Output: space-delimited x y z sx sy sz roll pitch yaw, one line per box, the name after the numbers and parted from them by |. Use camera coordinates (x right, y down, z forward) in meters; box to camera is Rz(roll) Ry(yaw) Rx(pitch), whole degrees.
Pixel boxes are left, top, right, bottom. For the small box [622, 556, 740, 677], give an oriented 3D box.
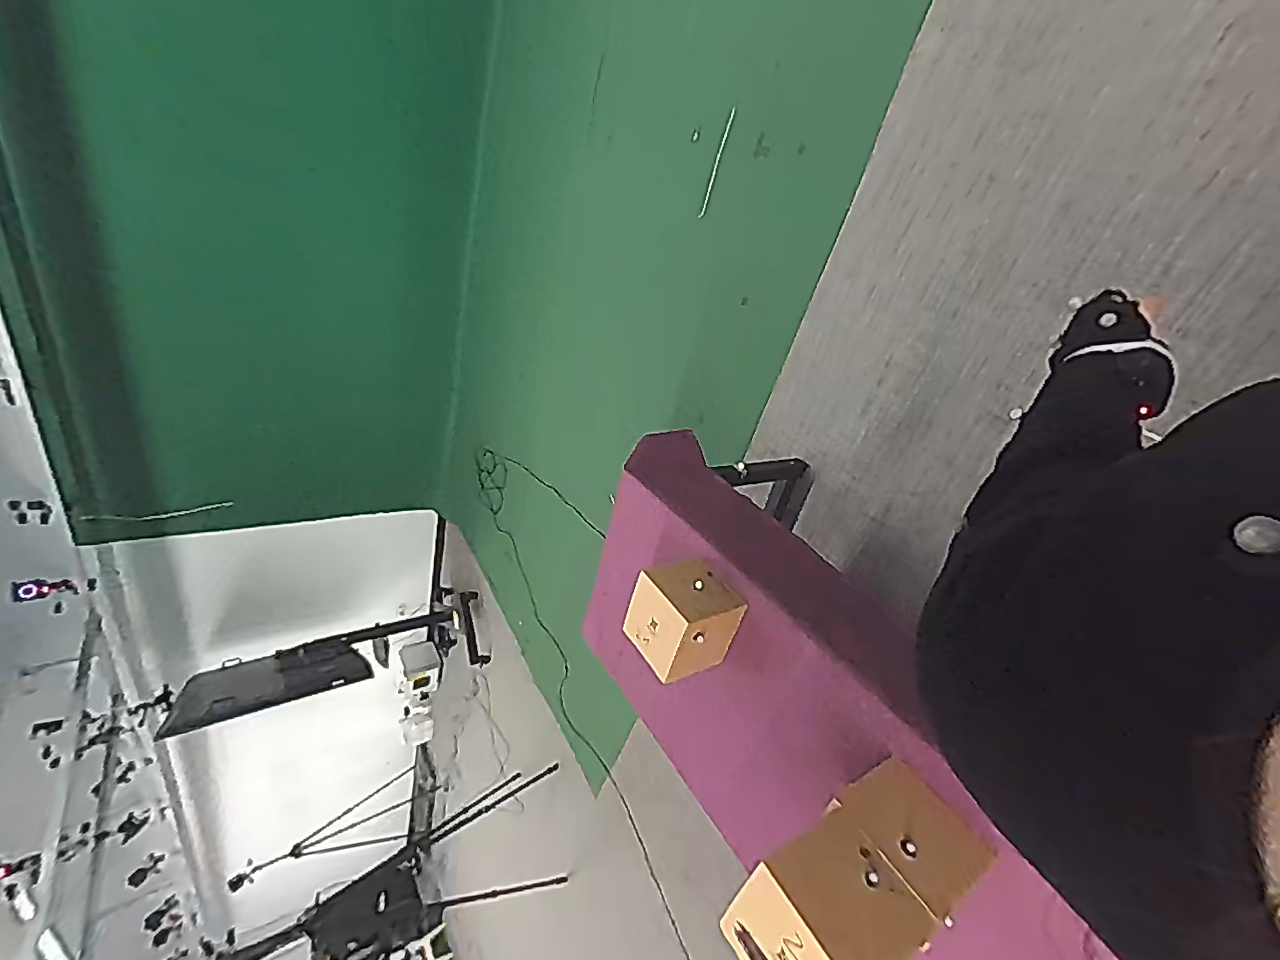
0.090 0.285 1.168 0.168 0.176 0.179 45 129 41 | small box

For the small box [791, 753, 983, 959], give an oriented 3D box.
0.373 0.559 0.823 0.179 0.176 0.168 44 129 42 | small box
